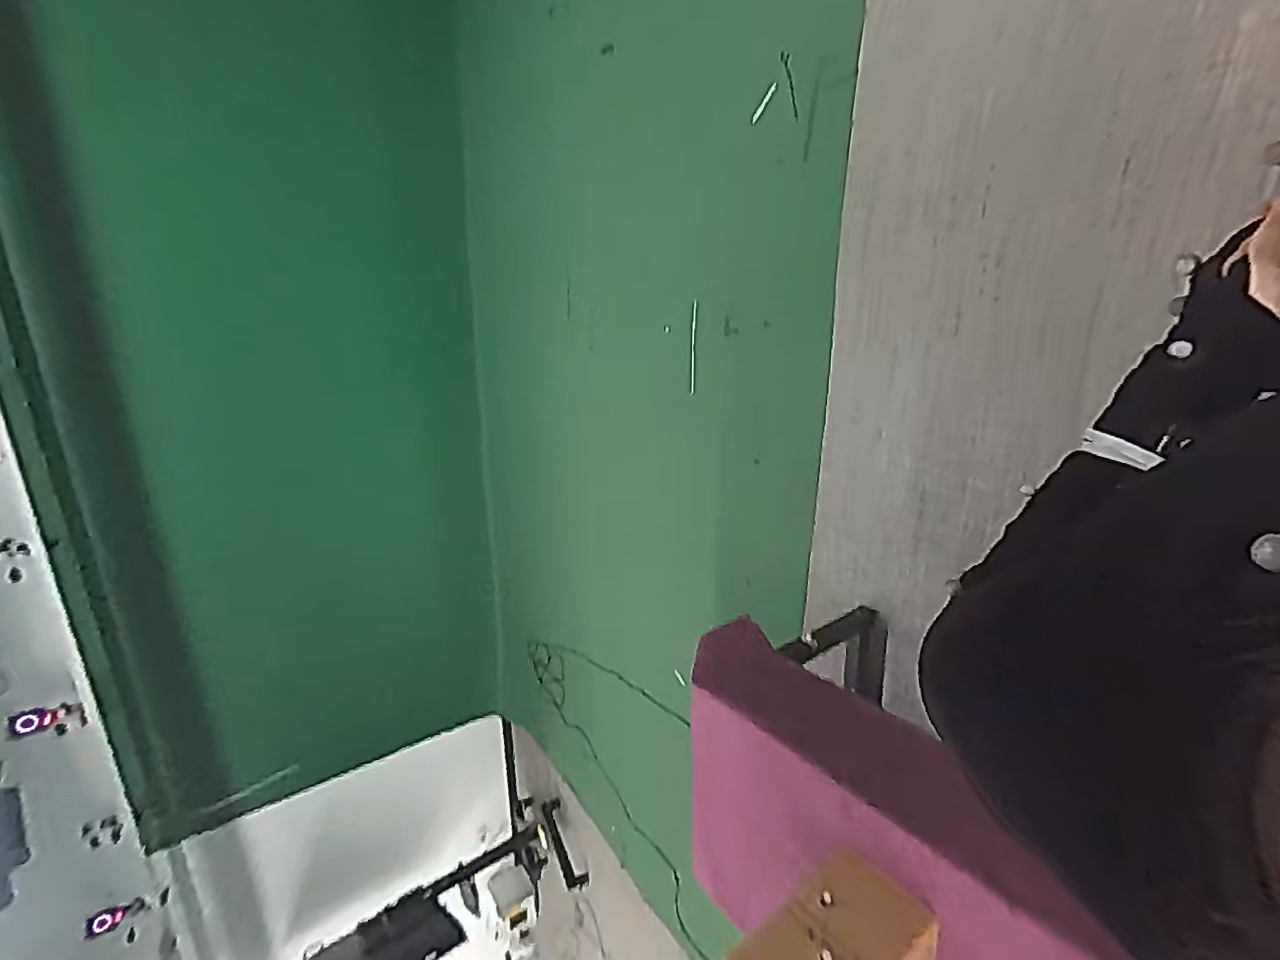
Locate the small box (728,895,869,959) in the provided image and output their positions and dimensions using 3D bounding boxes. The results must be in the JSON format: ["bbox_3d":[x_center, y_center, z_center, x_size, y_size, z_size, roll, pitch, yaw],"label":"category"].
[{"bbox_3d":[0.256,0.821,0.846,0.168,0.176,0.179,14,110,52],"label":"small box"}]

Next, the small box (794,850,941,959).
[{"bbox_3d":[0.387,0.791,0.938,0.179,0.176,0.168,16,113,52],"label":"small box"}]
